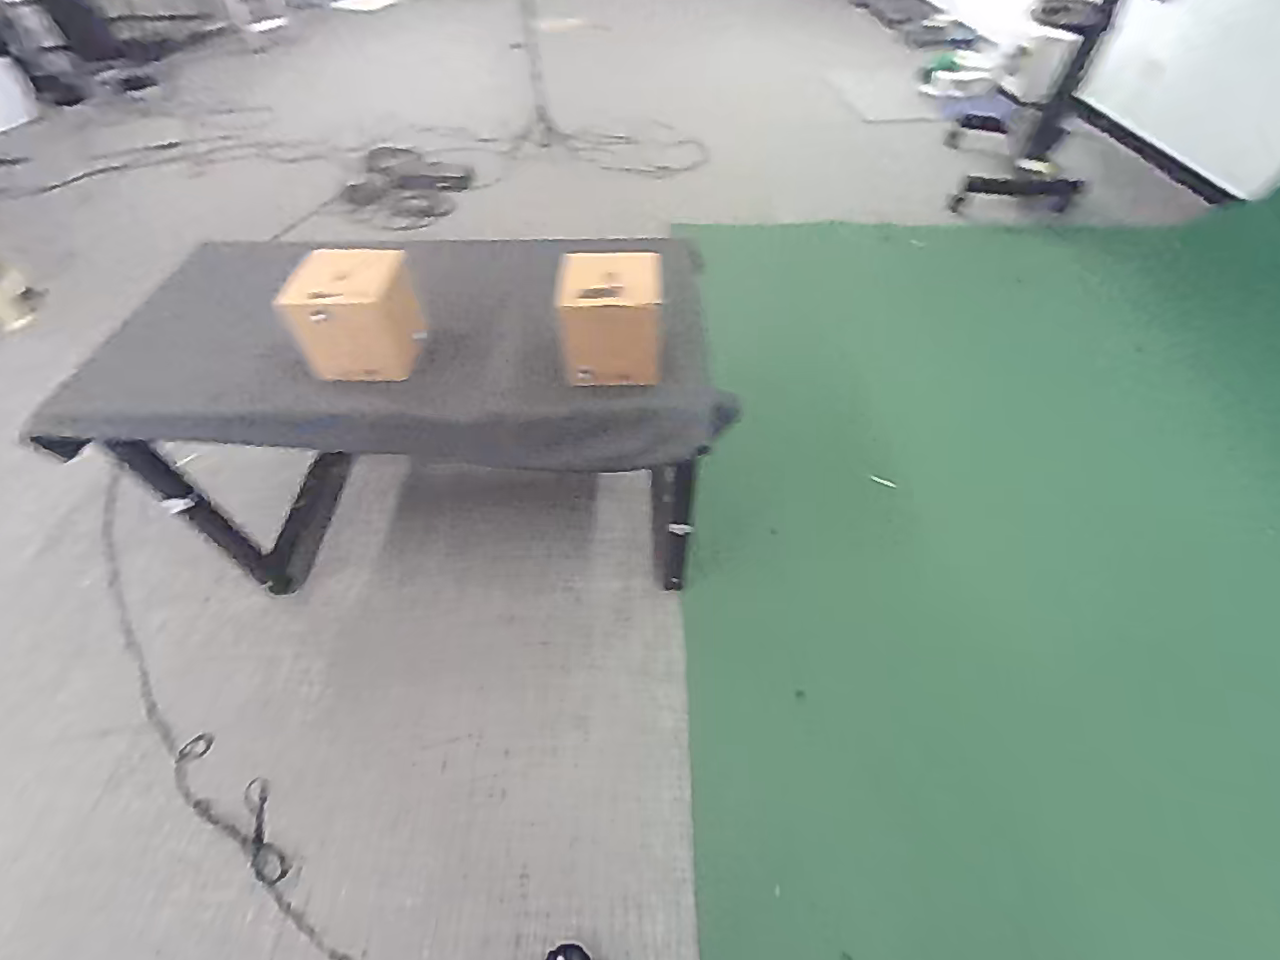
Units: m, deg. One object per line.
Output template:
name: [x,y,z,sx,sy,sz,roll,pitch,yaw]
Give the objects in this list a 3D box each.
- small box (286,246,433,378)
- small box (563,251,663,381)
small box: [-0.501,-0.310,0.999,0.168,0.176,0.179,0,50,0]
small box: [-0.040,-0.295,0.986,0.168,0.176,0.179,0,49,1]
